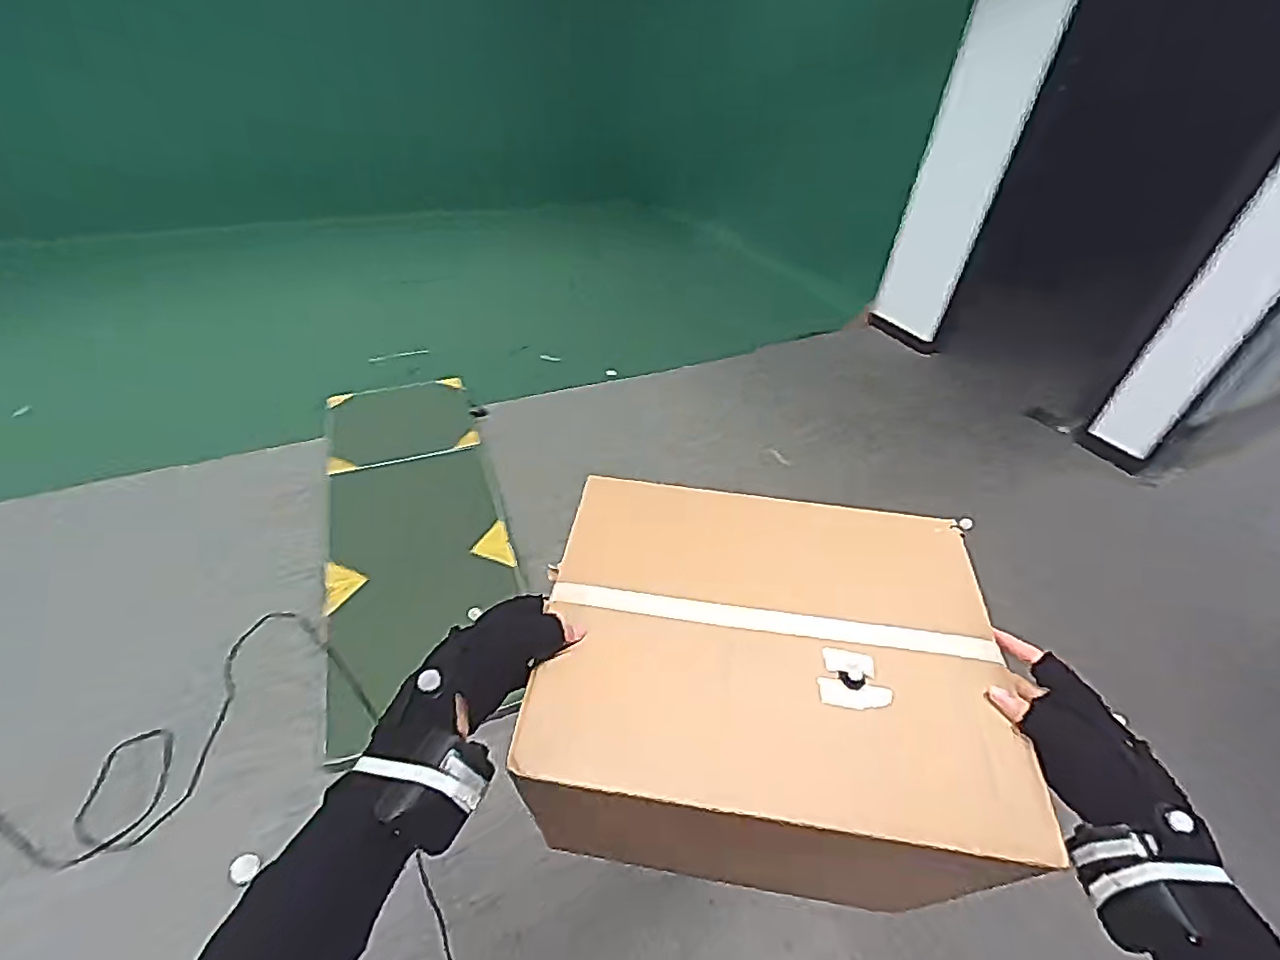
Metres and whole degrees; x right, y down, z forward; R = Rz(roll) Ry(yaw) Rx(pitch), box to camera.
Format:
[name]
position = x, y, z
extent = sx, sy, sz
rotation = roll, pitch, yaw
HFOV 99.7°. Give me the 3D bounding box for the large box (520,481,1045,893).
[large box]
position = 0.111, 0.232, 0.613
extent = 0.408, 0.320, 0.320
rotation = 7, 47, 3
